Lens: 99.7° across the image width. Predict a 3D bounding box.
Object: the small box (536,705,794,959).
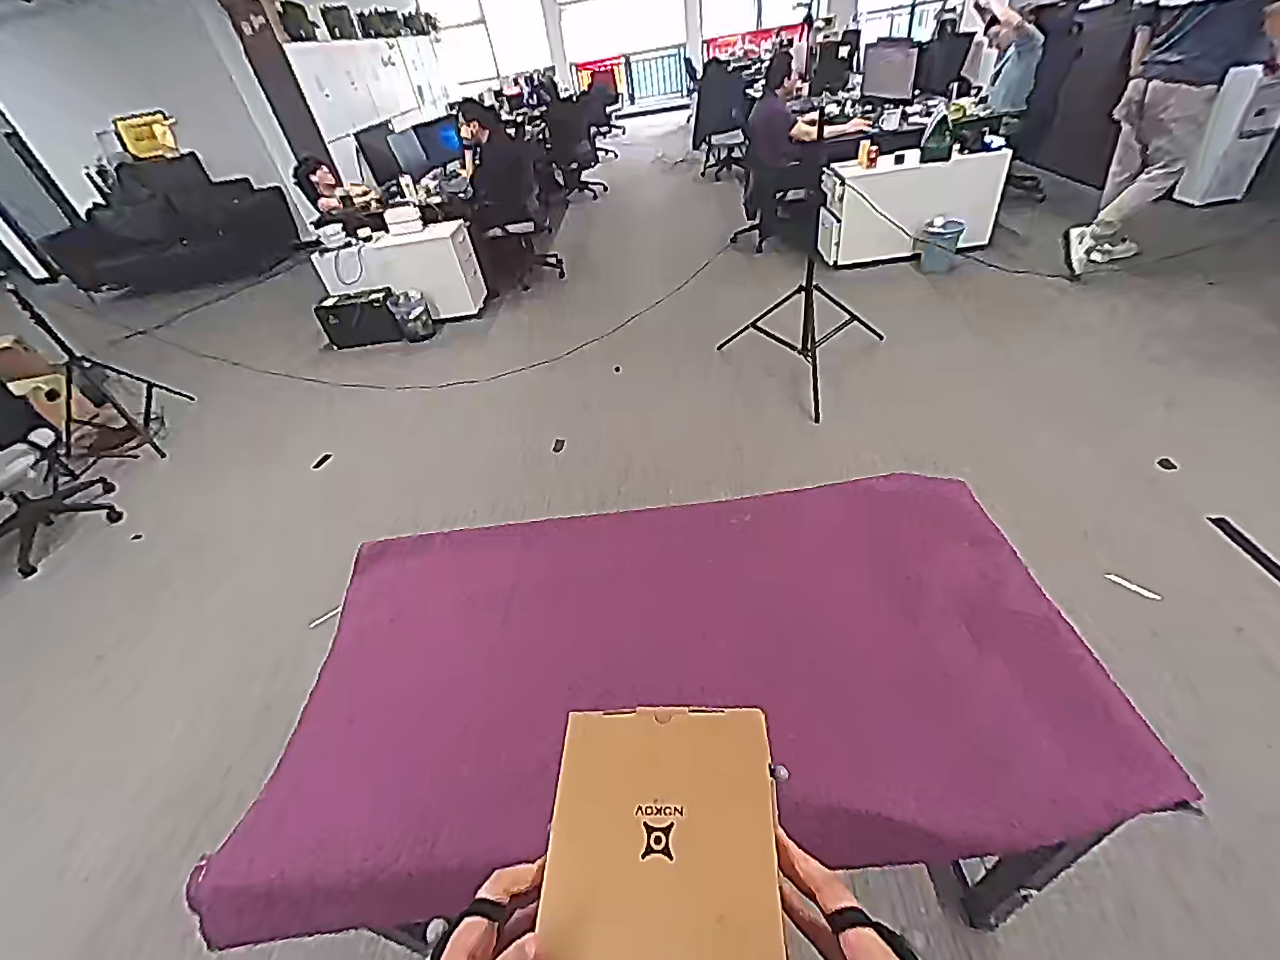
[{"bbox_3d":[0.033,0.307,0.446,0.168,0.176,0.179,-6,44,11],"label":"small box"}]
